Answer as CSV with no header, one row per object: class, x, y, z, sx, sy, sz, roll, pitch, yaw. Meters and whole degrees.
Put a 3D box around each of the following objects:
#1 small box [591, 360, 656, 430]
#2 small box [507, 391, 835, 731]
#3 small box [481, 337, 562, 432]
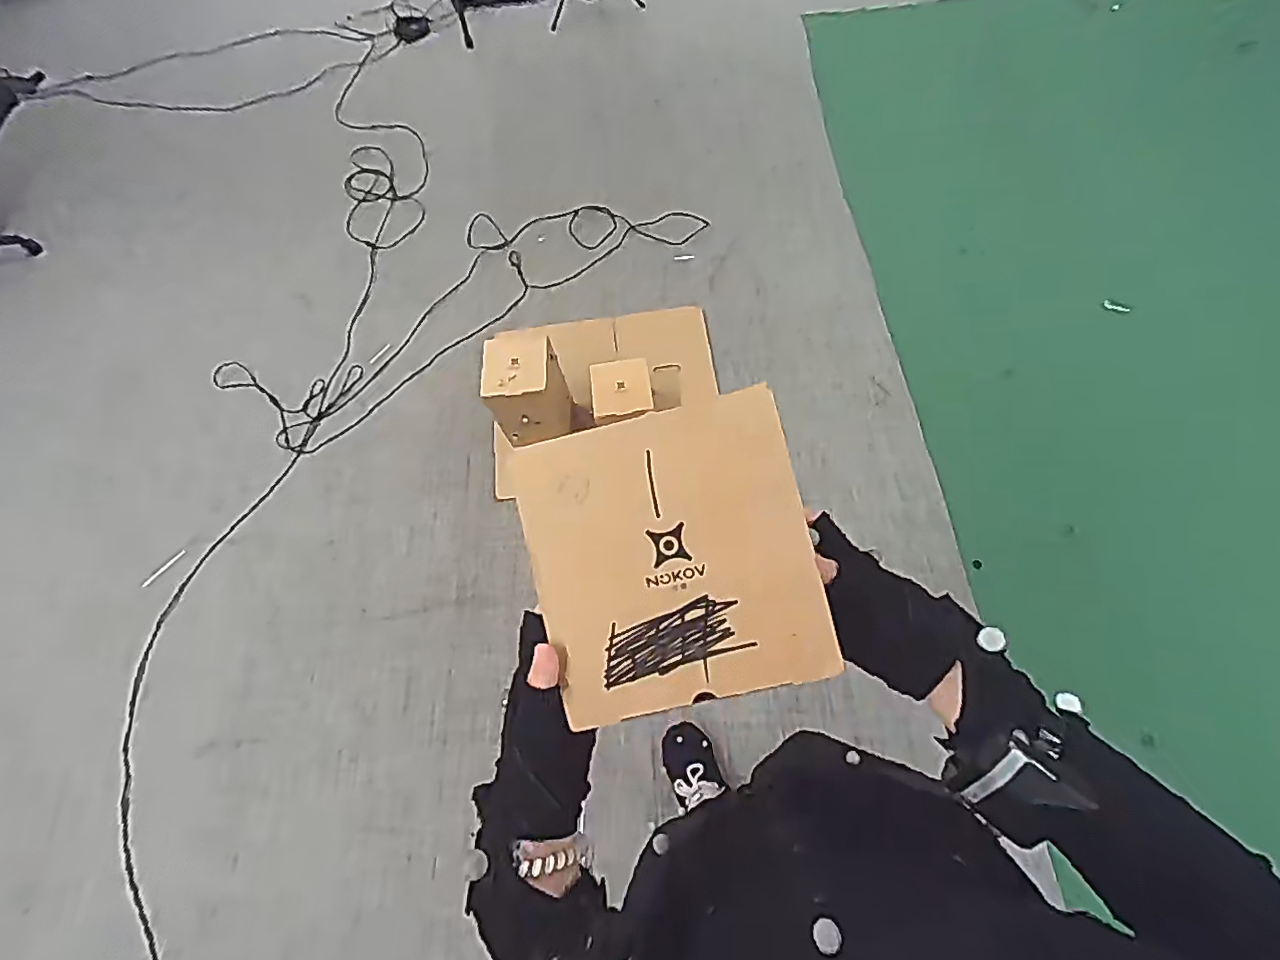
small box,-0.046,-0.218,1.565,0.168,0.176,0.179,-9,66,1
small box,0.023,0.050,0.399,0.168,0.176,0.179,-14,87,4
small box,-0.303,-0.247,1.417,0.168,0.176,0.179,-5,66,4
